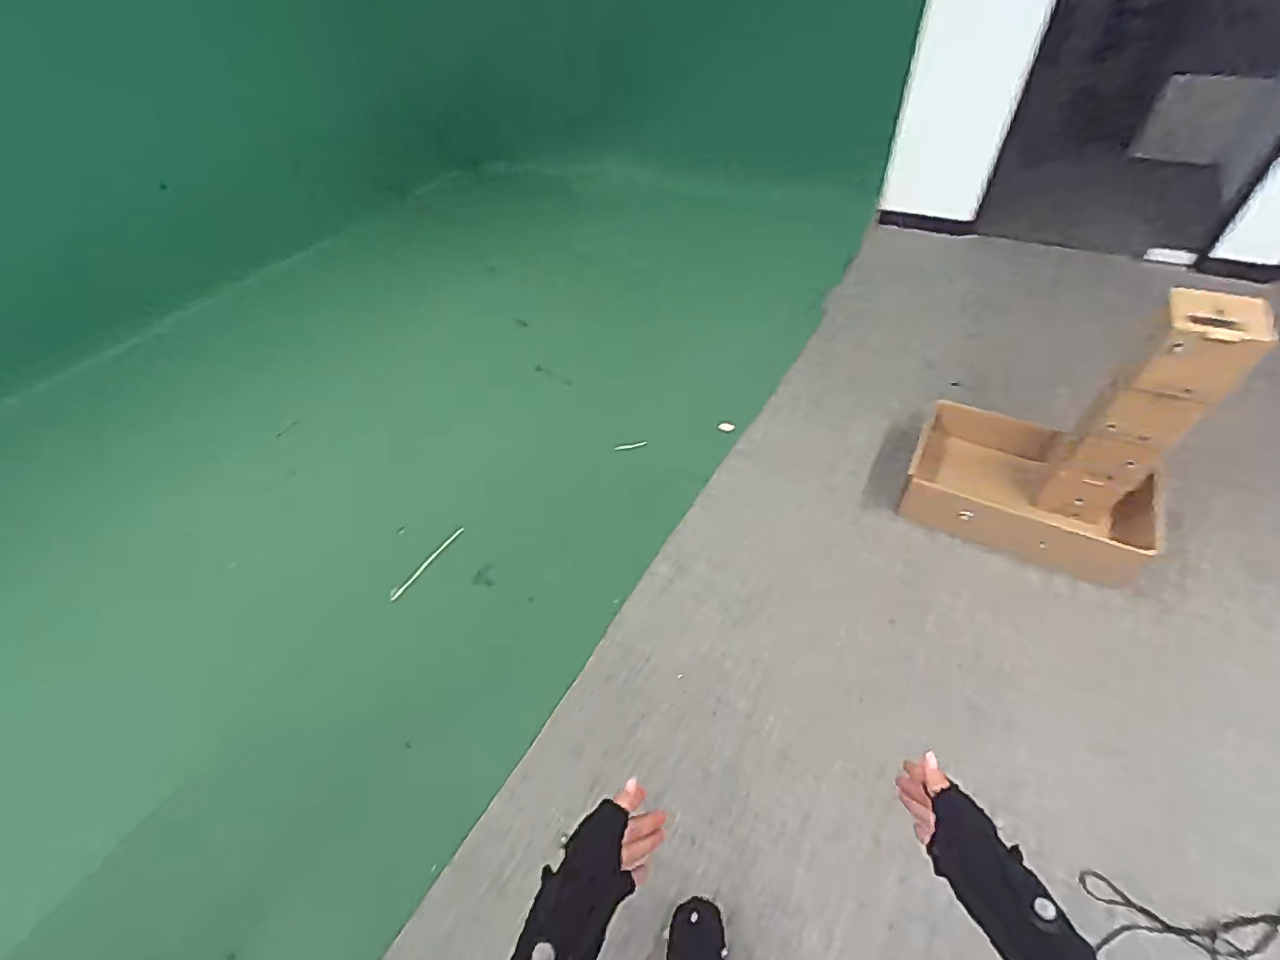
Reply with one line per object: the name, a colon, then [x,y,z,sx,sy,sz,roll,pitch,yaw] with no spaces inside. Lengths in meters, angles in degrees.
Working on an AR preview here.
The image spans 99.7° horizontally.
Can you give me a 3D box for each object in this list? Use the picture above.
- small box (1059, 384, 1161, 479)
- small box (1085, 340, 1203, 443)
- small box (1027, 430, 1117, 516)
small box: [1.291,-0.132,1.487,0.168,0.176,0.179,21,55,23]
small box: [1.272,-0.222,1.373,0.168,0.176,0.179,22,56,23]
small box: [1.296,-0.018,1.629,0.168,0.176,0.179,16,53,22]
